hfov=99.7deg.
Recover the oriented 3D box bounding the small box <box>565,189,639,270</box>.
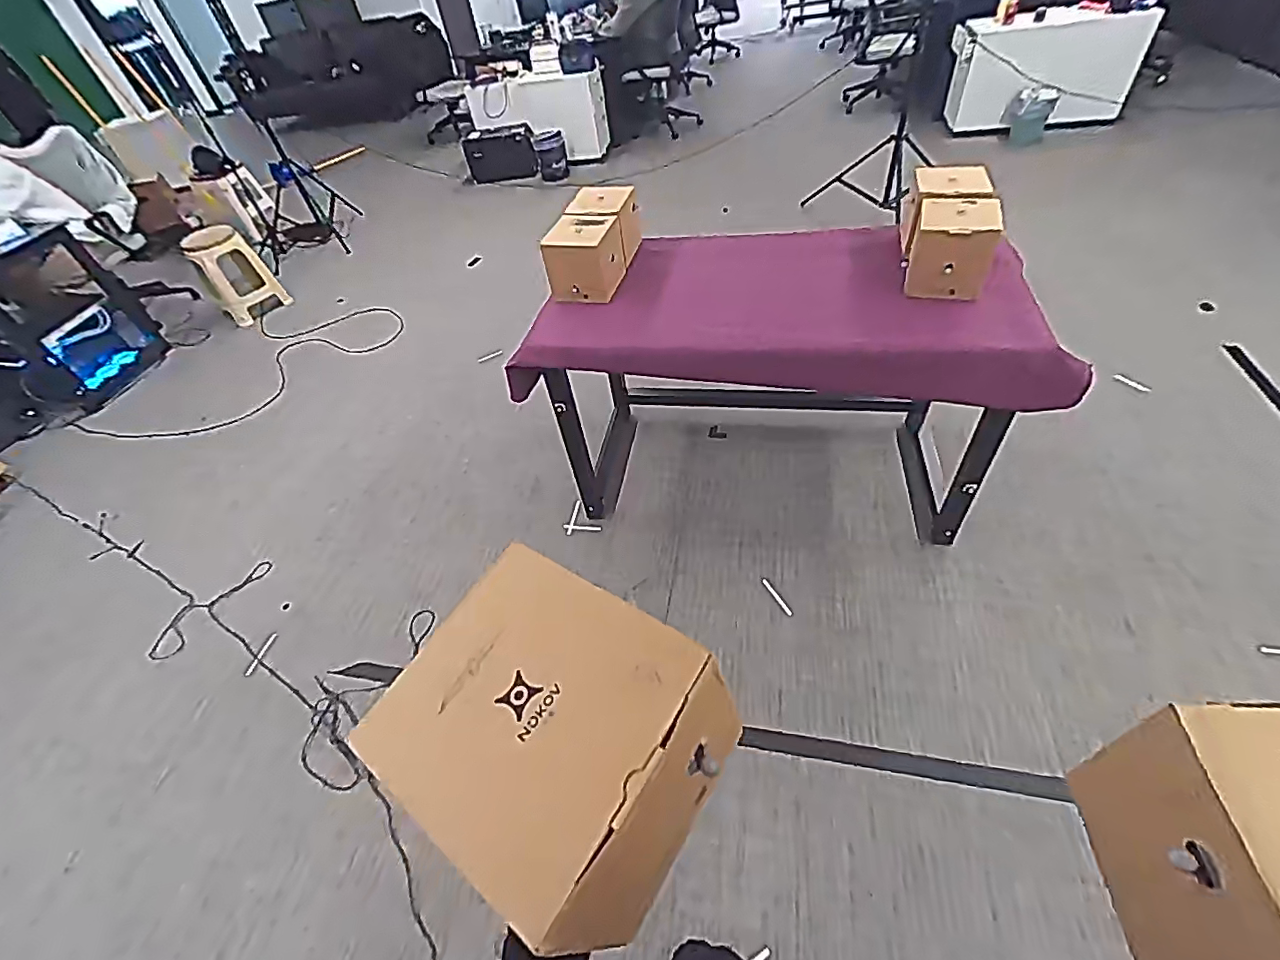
[{"bbox_3d":[-0.106,-0.750,1.617,0.168,0.176,0.179,7,50,15],"label":"small box"}]

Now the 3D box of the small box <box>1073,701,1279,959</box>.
[{"bbox_3d":[0.401,0.248,0.312,0.168,0.176,0.179,-3,49,12],"label":"small box"}]

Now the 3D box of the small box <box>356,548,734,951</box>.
[{"bbox_3d":[-0.048,0.184,0.389,0.179,0.176,0.168,21,60,32],"label":"small box"}]

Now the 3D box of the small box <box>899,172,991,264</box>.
[{"bbox_3d":[0.789,-0.688,1.419,0.168,0.176,0.179,7,49,14],"label":"small box"}]
